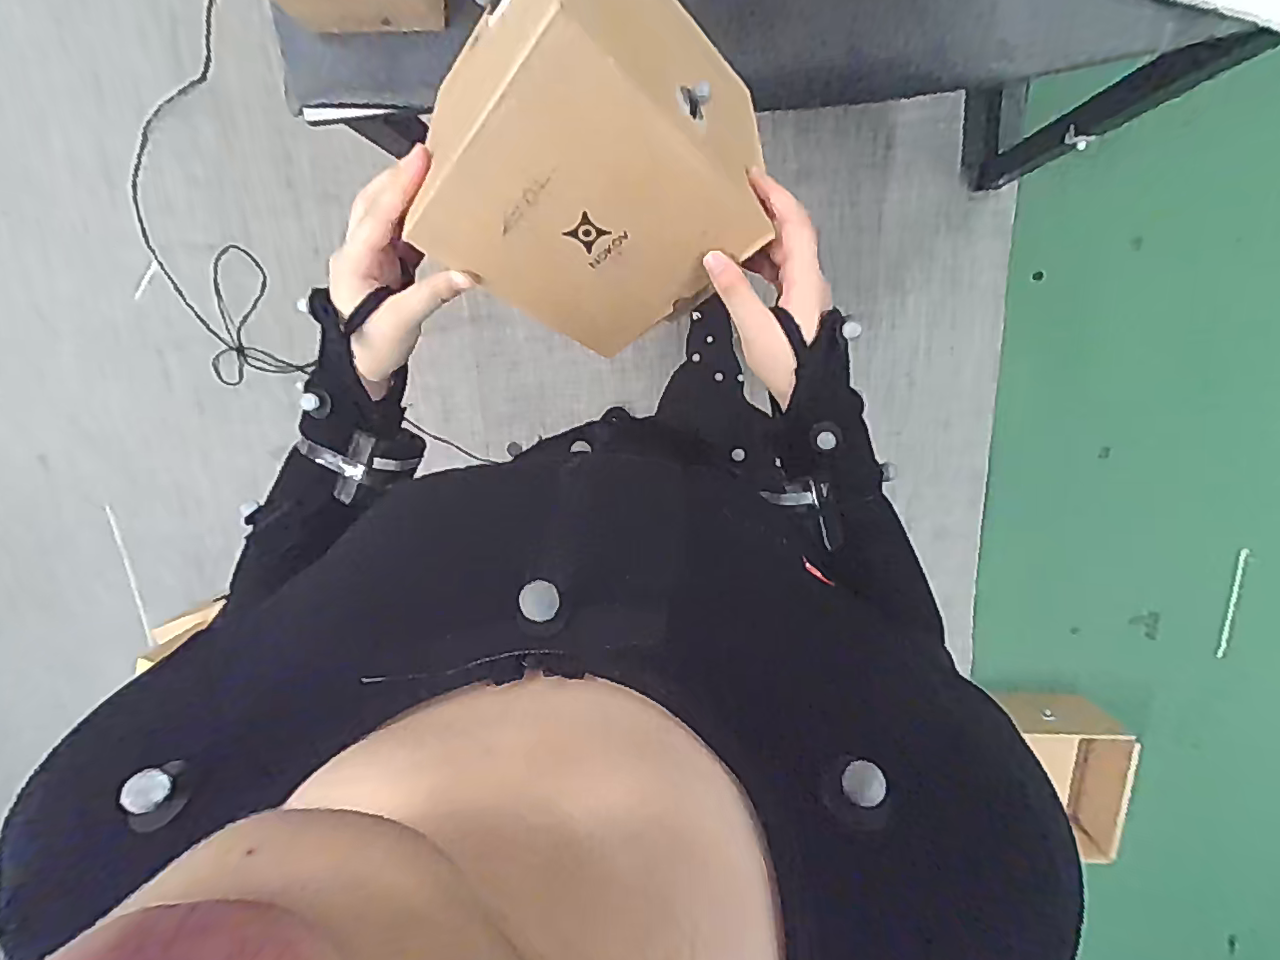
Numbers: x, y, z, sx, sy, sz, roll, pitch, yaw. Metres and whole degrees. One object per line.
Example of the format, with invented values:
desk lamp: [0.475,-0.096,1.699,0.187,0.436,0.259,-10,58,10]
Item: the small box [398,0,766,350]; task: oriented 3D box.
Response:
small box: [-0.037,-0.230,0.377,0.179,0.176,0.168,23,142,-38]
